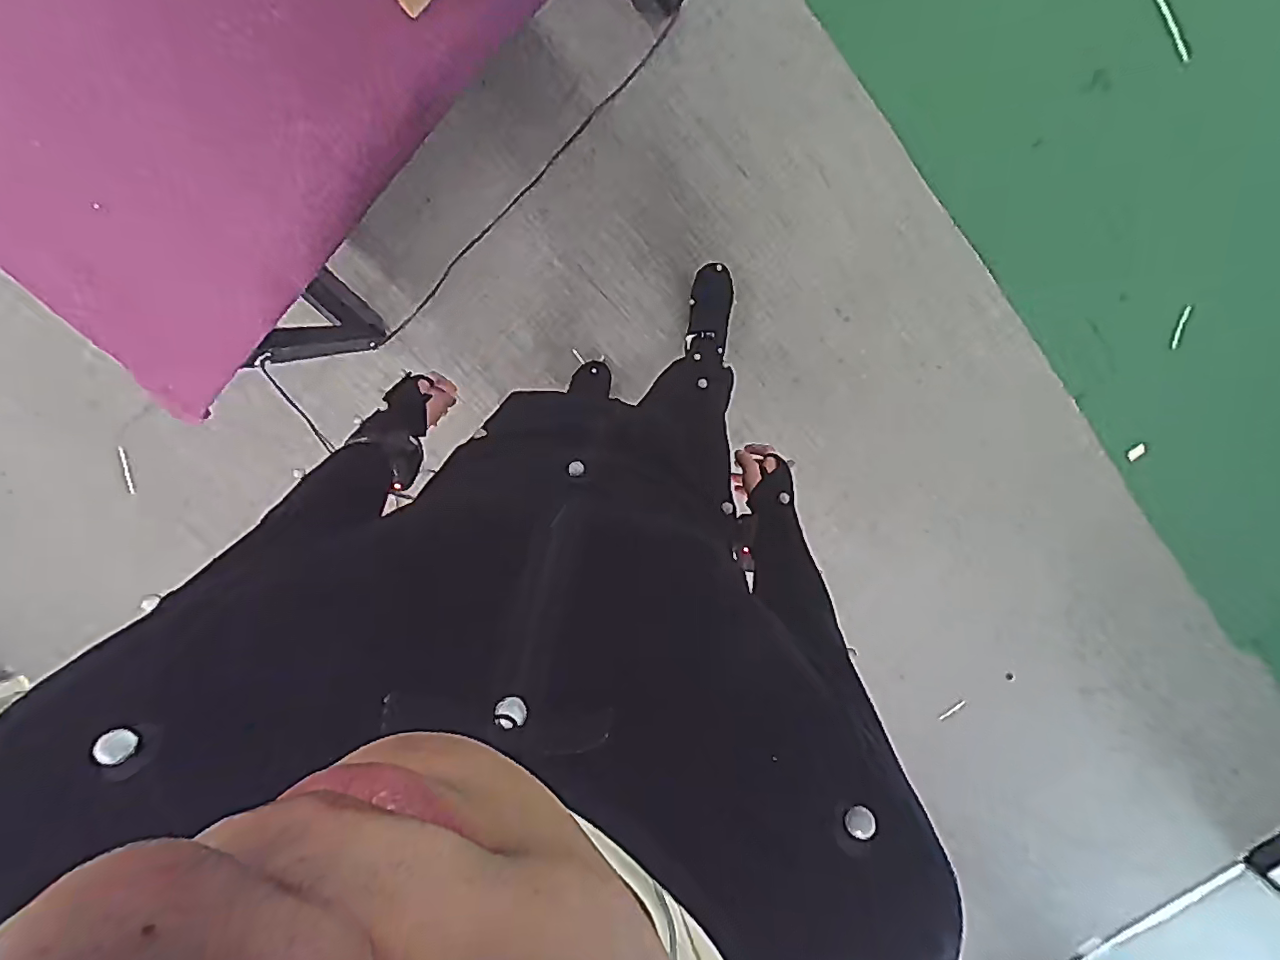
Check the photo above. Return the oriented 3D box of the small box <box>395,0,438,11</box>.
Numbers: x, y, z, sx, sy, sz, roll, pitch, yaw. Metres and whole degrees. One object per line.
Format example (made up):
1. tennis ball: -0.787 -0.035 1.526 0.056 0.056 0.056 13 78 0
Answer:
1. small box: -0.279 -0.676 0.594 0.168 0.176 0.179 -39 102 10
